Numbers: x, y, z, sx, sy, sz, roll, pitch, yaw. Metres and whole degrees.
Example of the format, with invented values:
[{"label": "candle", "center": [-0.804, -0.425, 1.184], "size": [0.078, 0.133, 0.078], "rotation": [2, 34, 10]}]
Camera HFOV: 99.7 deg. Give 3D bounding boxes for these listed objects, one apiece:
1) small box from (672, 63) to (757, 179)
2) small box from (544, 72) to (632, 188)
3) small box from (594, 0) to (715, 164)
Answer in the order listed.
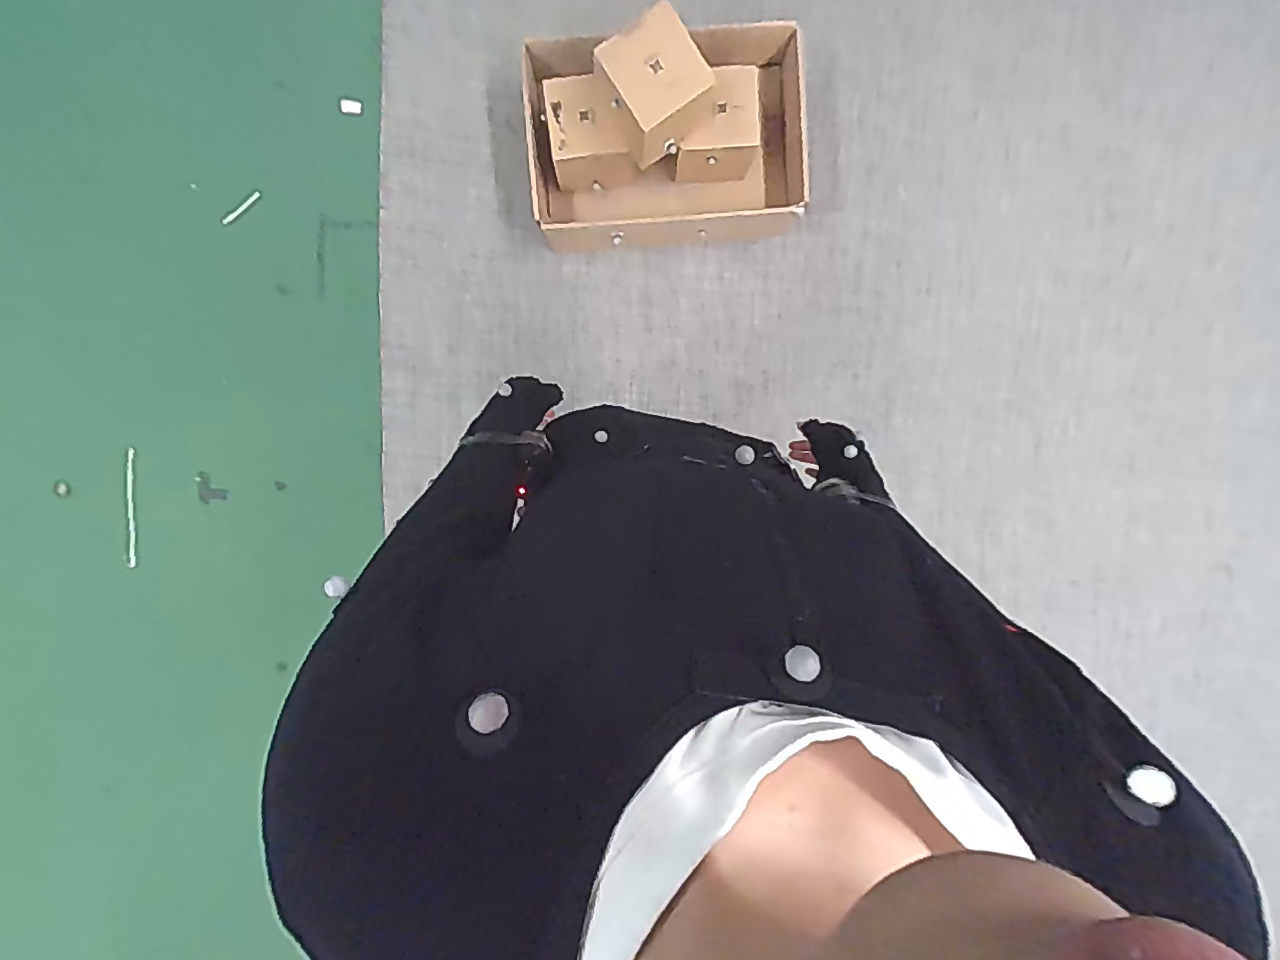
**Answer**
[{"label": "small box", "center": [0.164, -0.815, 1.242], "size": [0.179, 0.176, 0.168], "rotation": [-3, 97, -1]}, {"label": "small box", "center": [-0.117, -0.793, 1.238], "size": [0.179, 0.176, 0.168], "rotation": [-7, 96, -3]}, {"label": "small box", "center": [0.024, -0.783, 1.081], "size": [0.168, 0.176, 0.179], "rotation": [-35, 98, 3]}]
